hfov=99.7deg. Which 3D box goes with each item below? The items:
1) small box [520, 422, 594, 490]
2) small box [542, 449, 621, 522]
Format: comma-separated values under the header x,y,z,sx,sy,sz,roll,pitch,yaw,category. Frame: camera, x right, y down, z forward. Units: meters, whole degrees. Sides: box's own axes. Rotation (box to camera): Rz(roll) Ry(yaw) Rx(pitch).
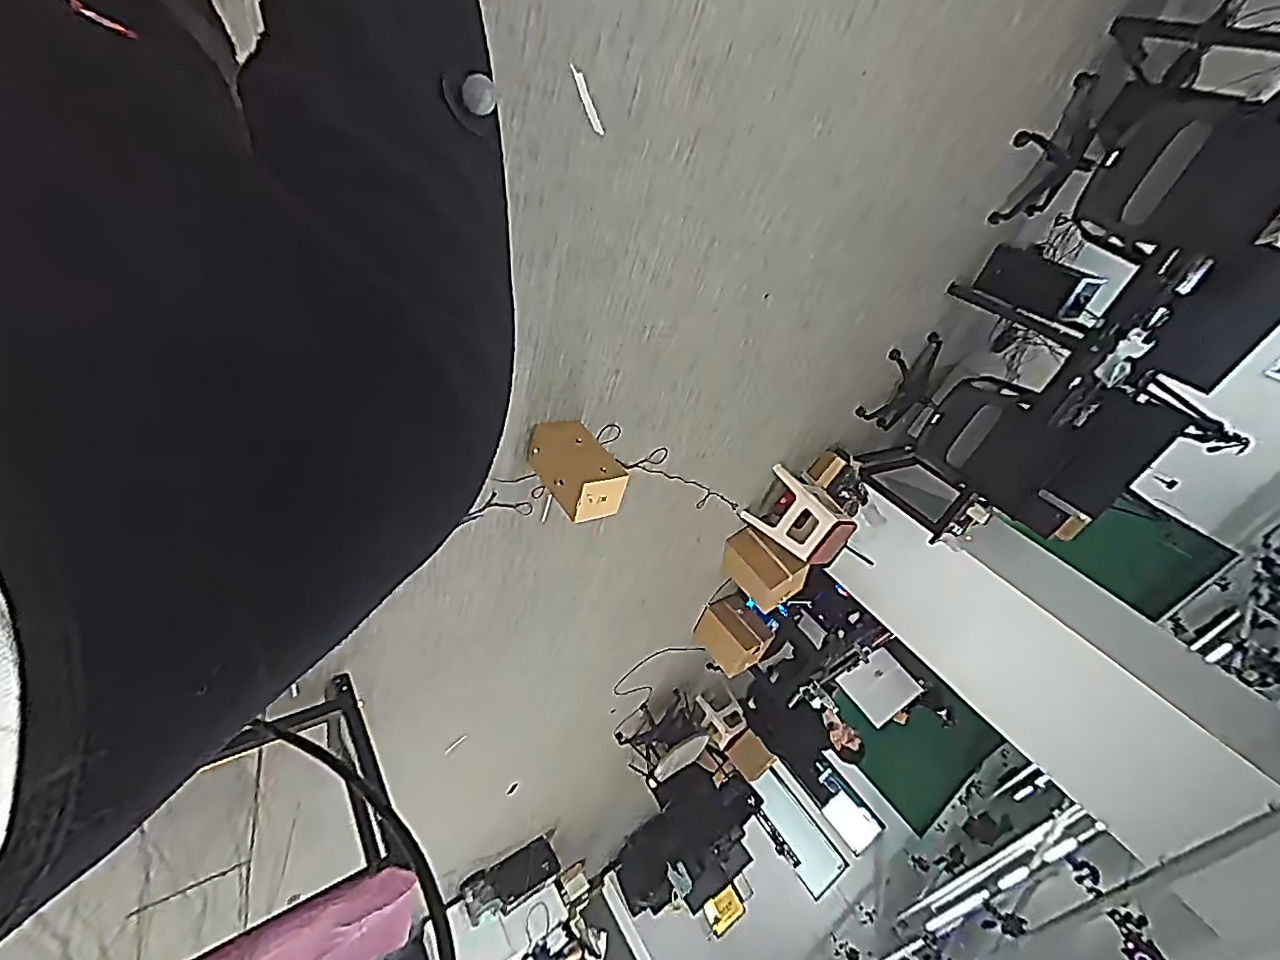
x,y,z,sx,sy,sz,roll,pitch,yaw,category
-0.289,-0.088,1.862,0.179,0.176,0.168,-9,132,-39,small box
-0.196,0.011,1.769,0.179,0.176,0.168,-11,133,-38,small box
